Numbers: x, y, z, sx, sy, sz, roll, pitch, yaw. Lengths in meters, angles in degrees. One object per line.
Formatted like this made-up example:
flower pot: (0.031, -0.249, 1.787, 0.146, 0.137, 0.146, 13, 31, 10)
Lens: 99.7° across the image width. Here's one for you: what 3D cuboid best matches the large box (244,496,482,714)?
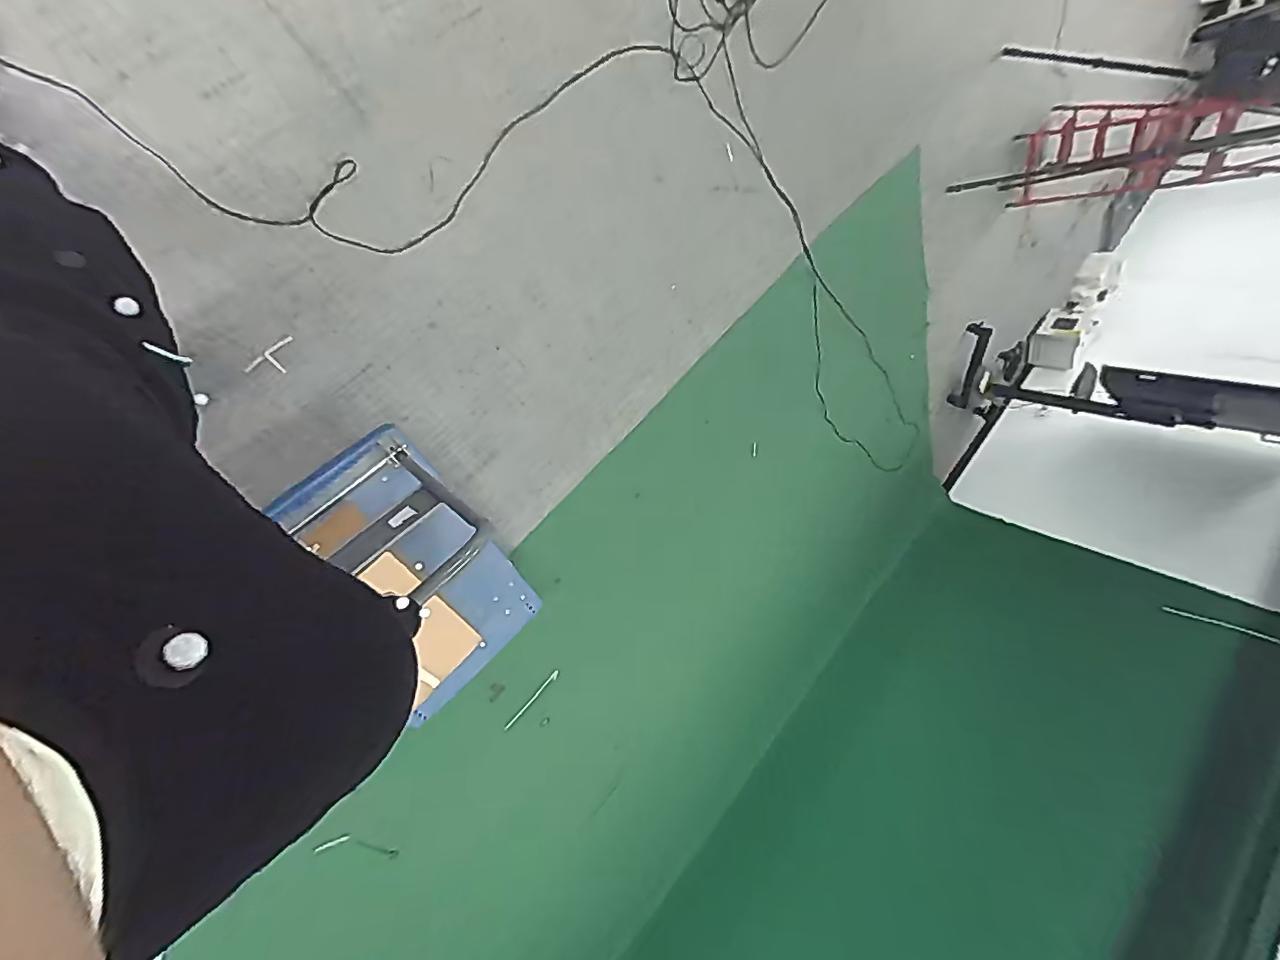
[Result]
large box: (-0.696, 0.313, 1.383, 0.320, 0.320, 0.408, -44, 134, -19)
